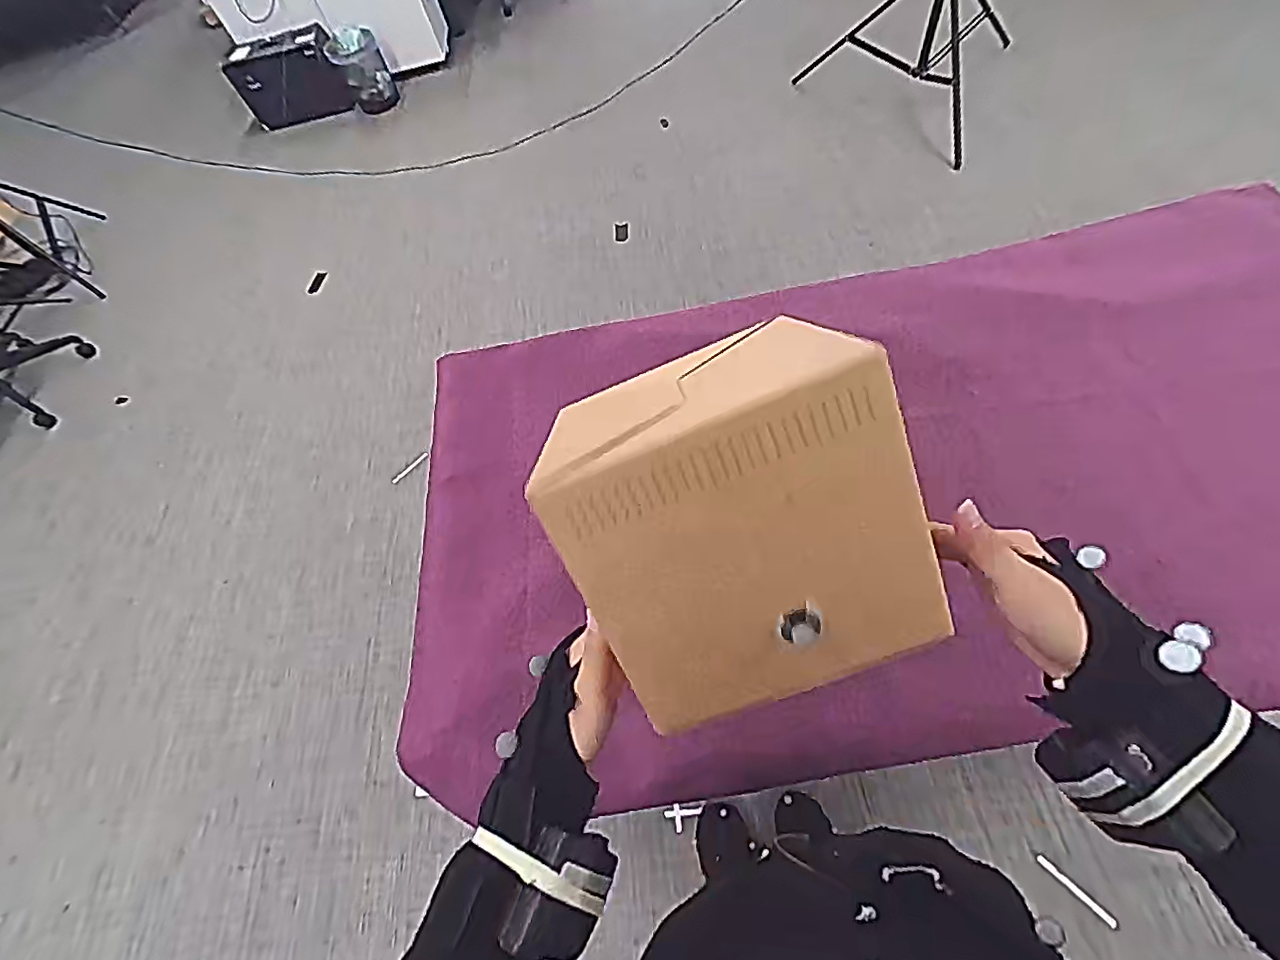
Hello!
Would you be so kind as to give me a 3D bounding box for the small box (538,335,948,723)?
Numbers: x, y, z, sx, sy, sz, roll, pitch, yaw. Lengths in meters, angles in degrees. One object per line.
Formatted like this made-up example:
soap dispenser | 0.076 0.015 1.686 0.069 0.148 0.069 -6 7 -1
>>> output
small box | 0.056 0.013 0.353 0.179 0.176 0.168 -22 16 5
